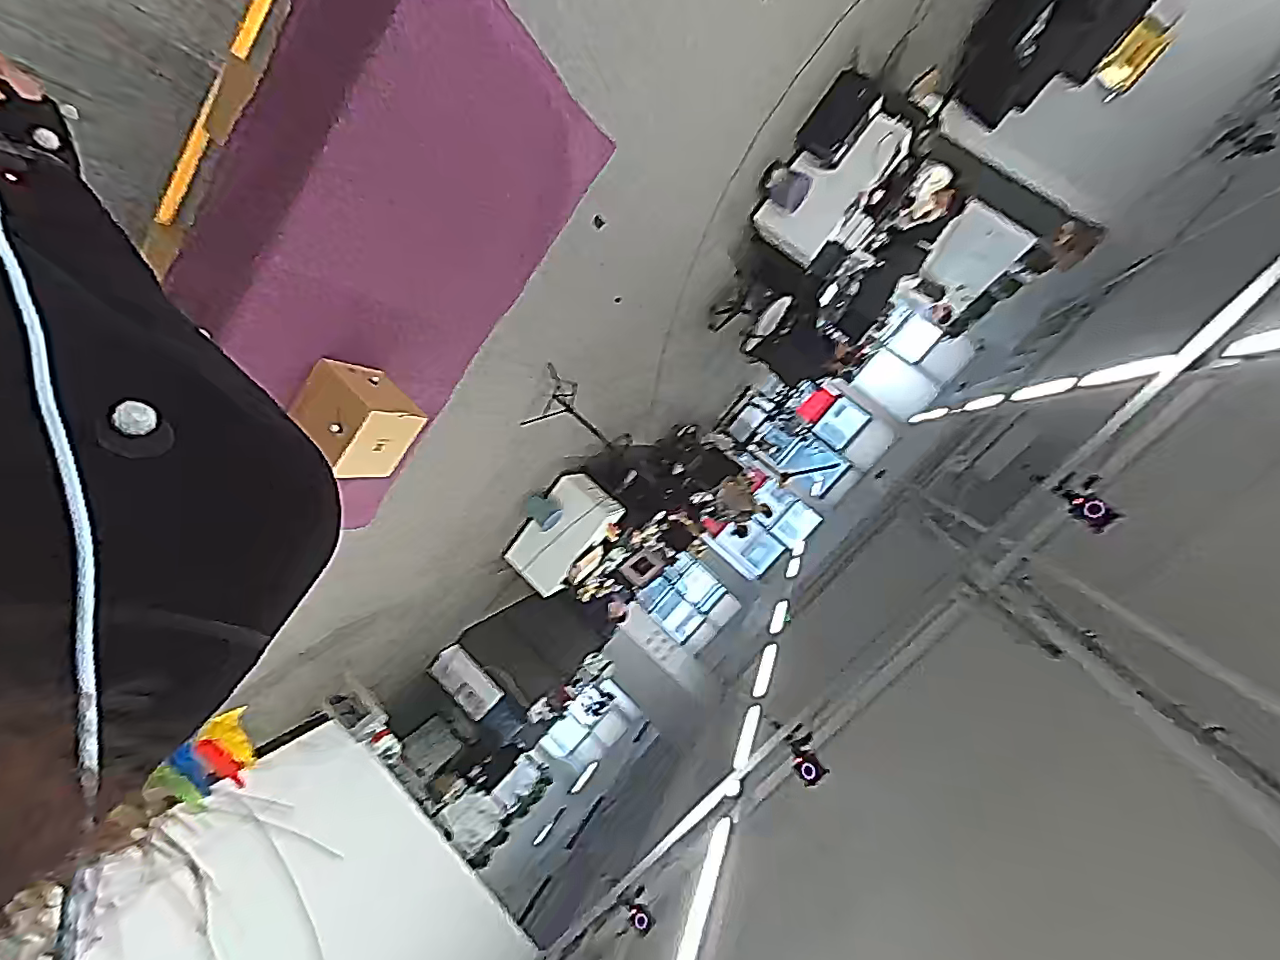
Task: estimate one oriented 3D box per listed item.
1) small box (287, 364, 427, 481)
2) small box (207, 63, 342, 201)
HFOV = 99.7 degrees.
[{"bbox_3d":[-0.604,-0.116,1.150,0.179,0.176,0.168,-52,168,12],"label":"small box"},{"bbox_3d":[-0.831,-0.785,1.227,0.179,0.176,0.168,-51,169,17],"label":"small box"}]
